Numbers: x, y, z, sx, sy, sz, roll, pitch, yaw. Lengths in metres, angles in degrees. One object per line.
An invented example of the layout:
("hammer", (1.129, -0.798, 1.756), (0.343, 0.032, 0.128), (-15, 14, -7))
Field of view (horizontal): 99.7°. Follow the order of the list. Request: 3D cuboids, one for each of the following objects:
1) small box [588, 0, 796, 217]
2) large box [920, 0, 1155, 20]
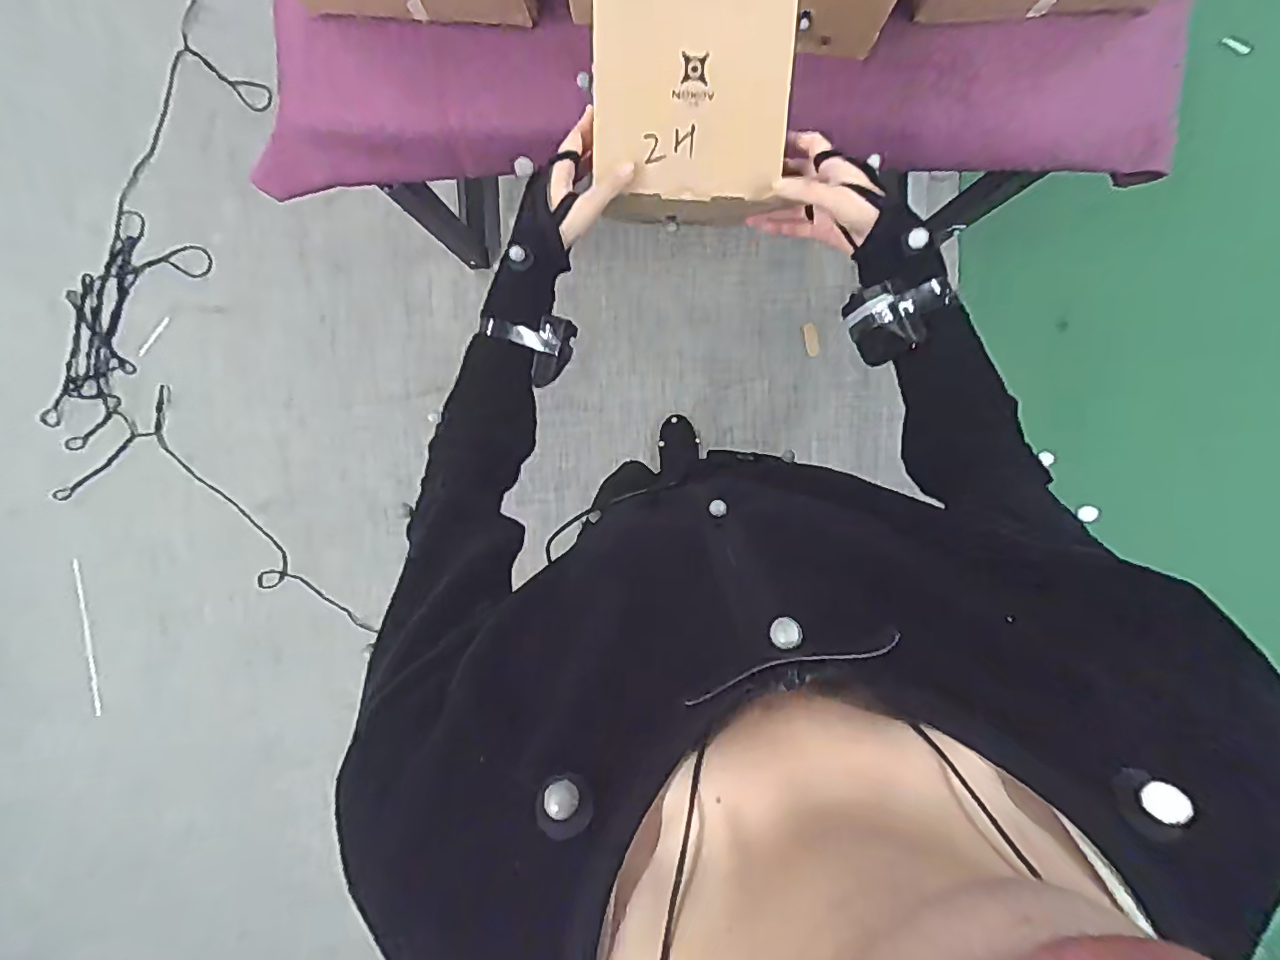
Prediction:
("small box", (0.037, -0.364, 0.514), (0.168, 0.176, 0.179), (1, 107, -2))
("large box", (0.504, -0.793, 0.541), (0.320, 0.320, 0.408), (-1, 96, 4))
